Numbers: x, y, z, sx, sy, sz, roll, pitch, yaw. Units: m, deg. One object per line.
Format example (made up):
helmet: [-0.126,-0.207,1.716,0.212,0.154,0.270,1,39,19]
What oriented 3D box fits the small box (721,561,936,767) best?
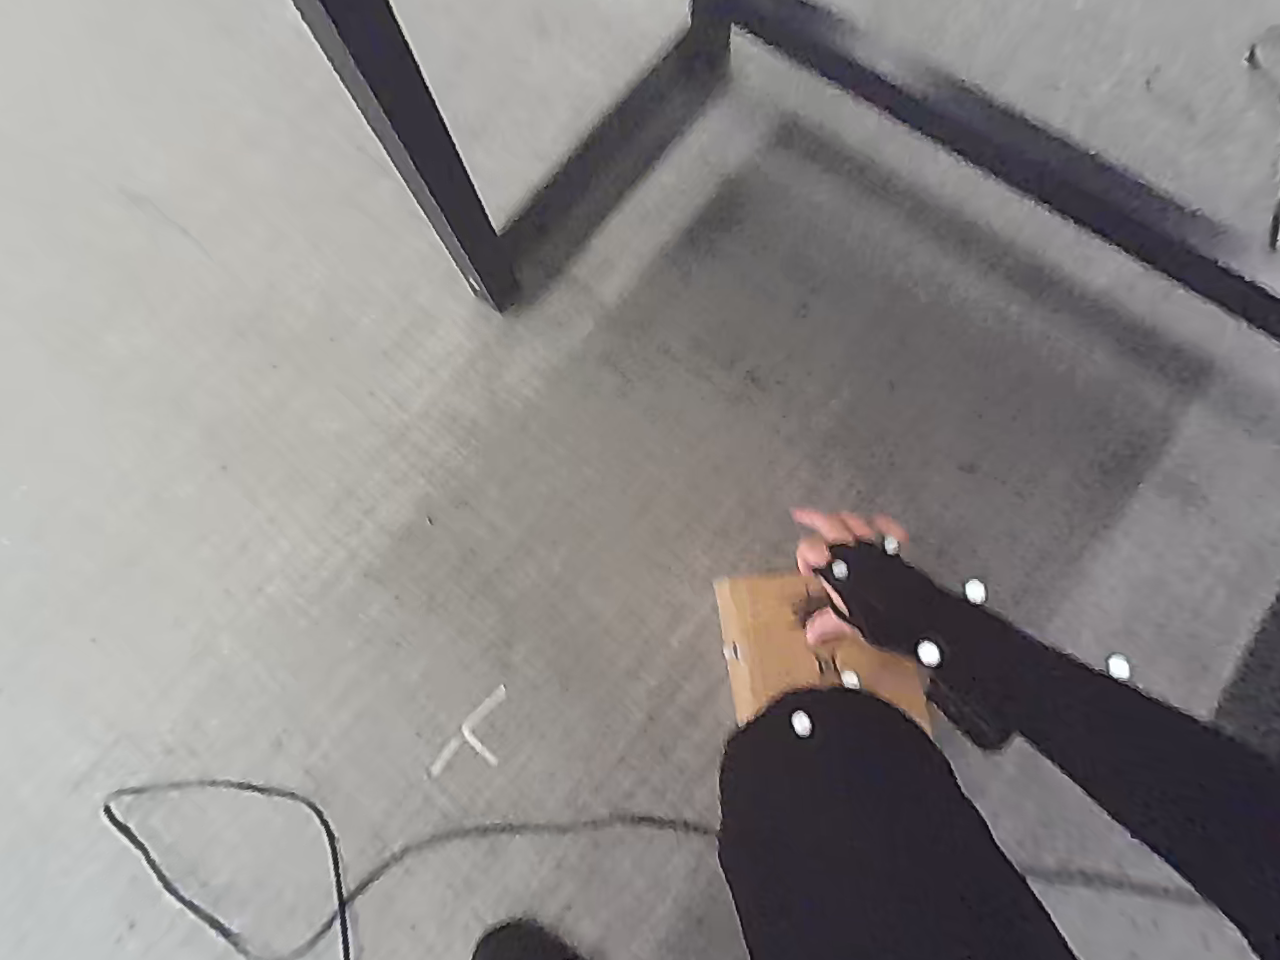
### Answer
small box: [0.189,0.192,0.601,0.168,0.176,0.179,-9,78,2]
